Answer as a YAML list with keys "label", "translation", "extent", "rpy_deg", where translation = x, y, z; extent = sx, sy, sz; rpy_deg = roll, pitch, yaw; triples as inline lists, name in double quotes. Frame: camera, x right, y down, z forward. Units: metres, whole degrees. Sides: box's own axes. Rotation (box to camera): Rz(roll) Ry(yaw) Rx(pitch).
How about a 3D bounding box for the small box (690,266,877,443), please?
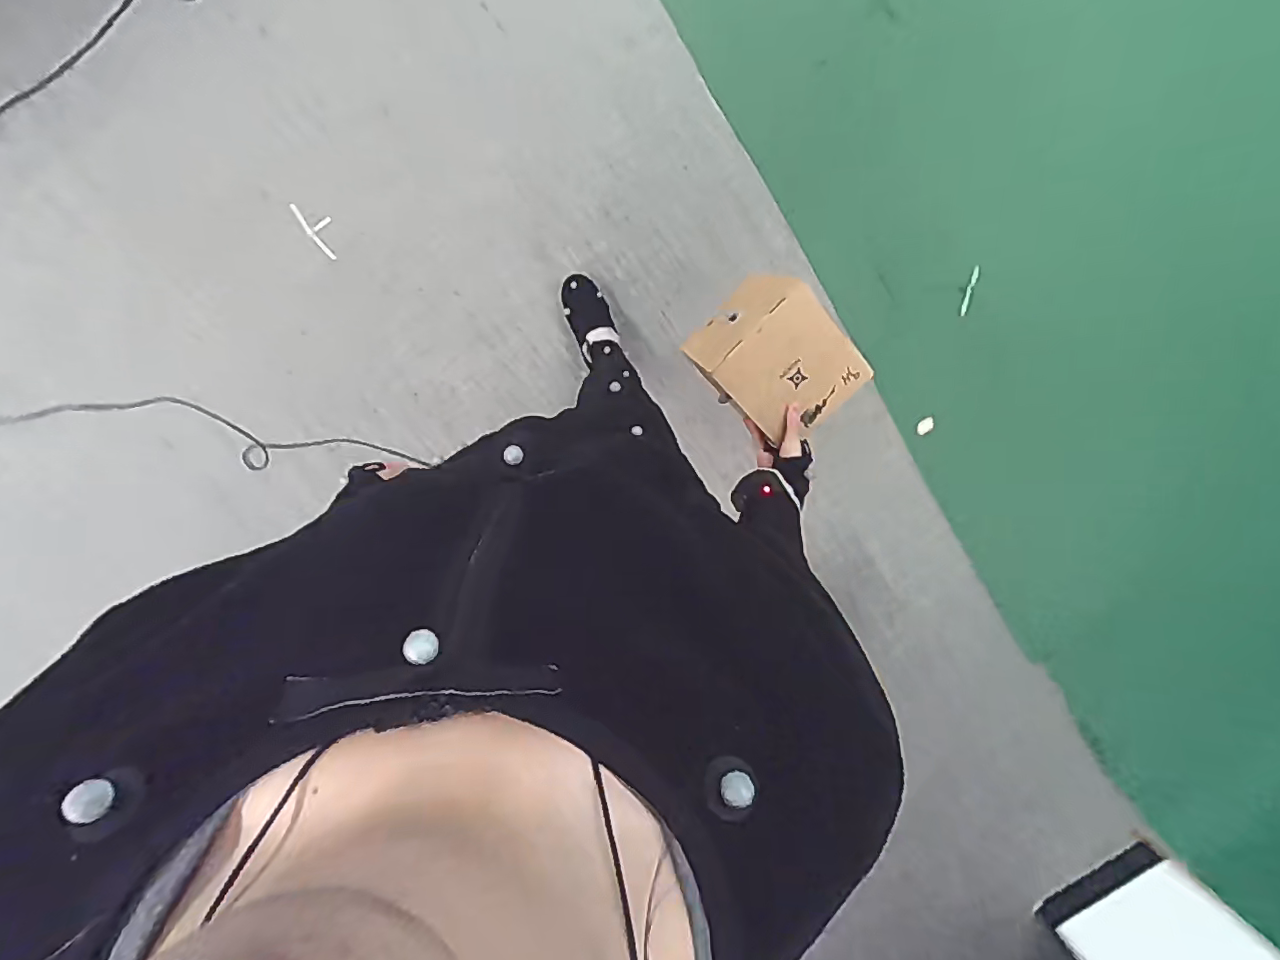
- label: "small box"
  translation: [0.197, -0.188, 0.792]
  extent: [0.168, 0.176, 0.179]
  rpy_deg: [-44, 113, 11]
